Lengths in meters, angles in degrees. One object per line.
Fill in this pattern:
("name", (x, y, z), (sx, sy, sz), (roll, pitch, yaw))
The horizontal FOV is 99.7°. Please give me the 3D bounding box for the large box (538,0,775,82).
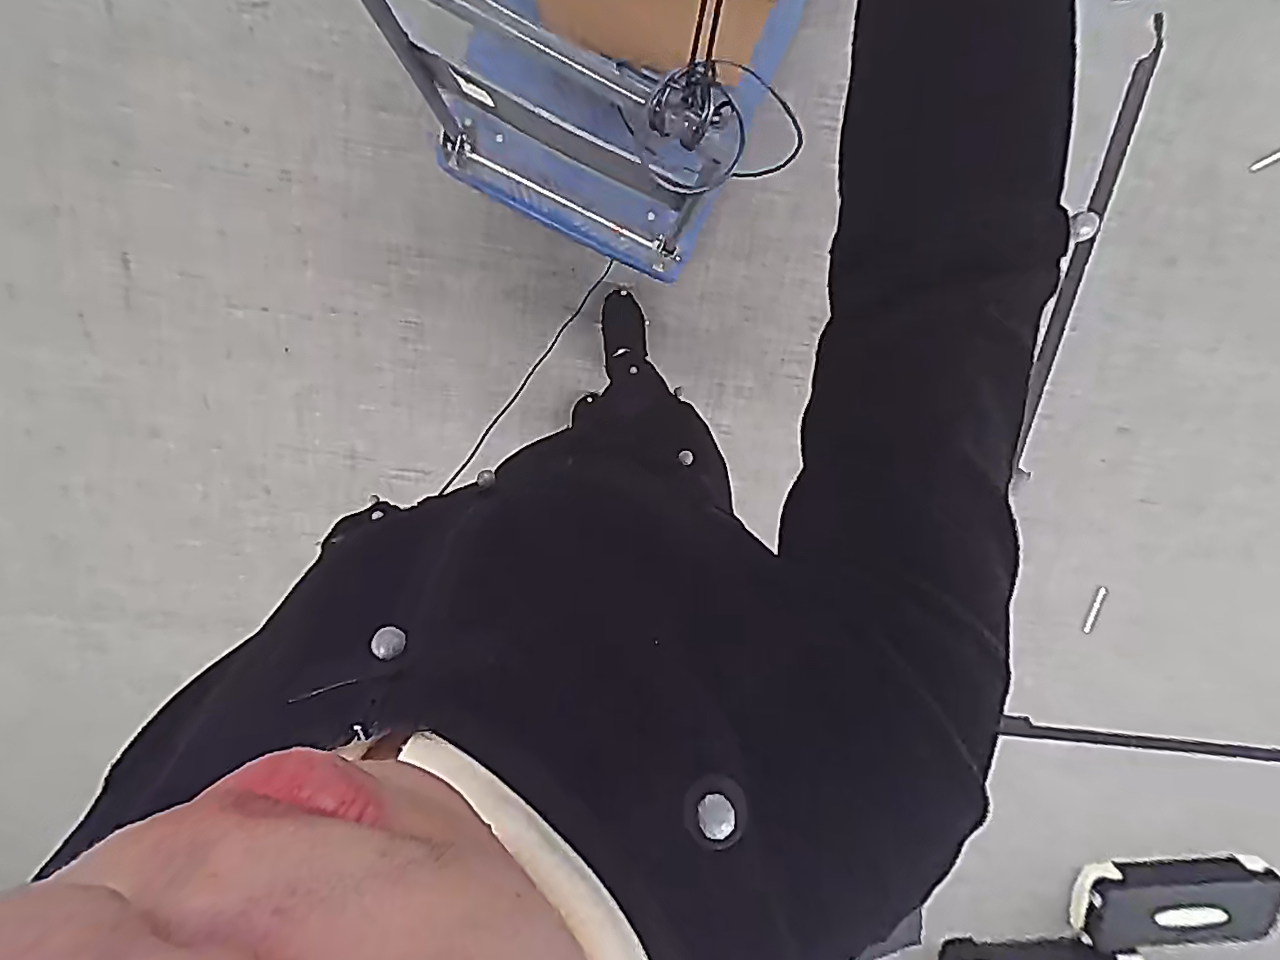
("large box", (0.036, -0.959, 0.926), (0.408, 0.320, 0.320), (9, 105, -5))
